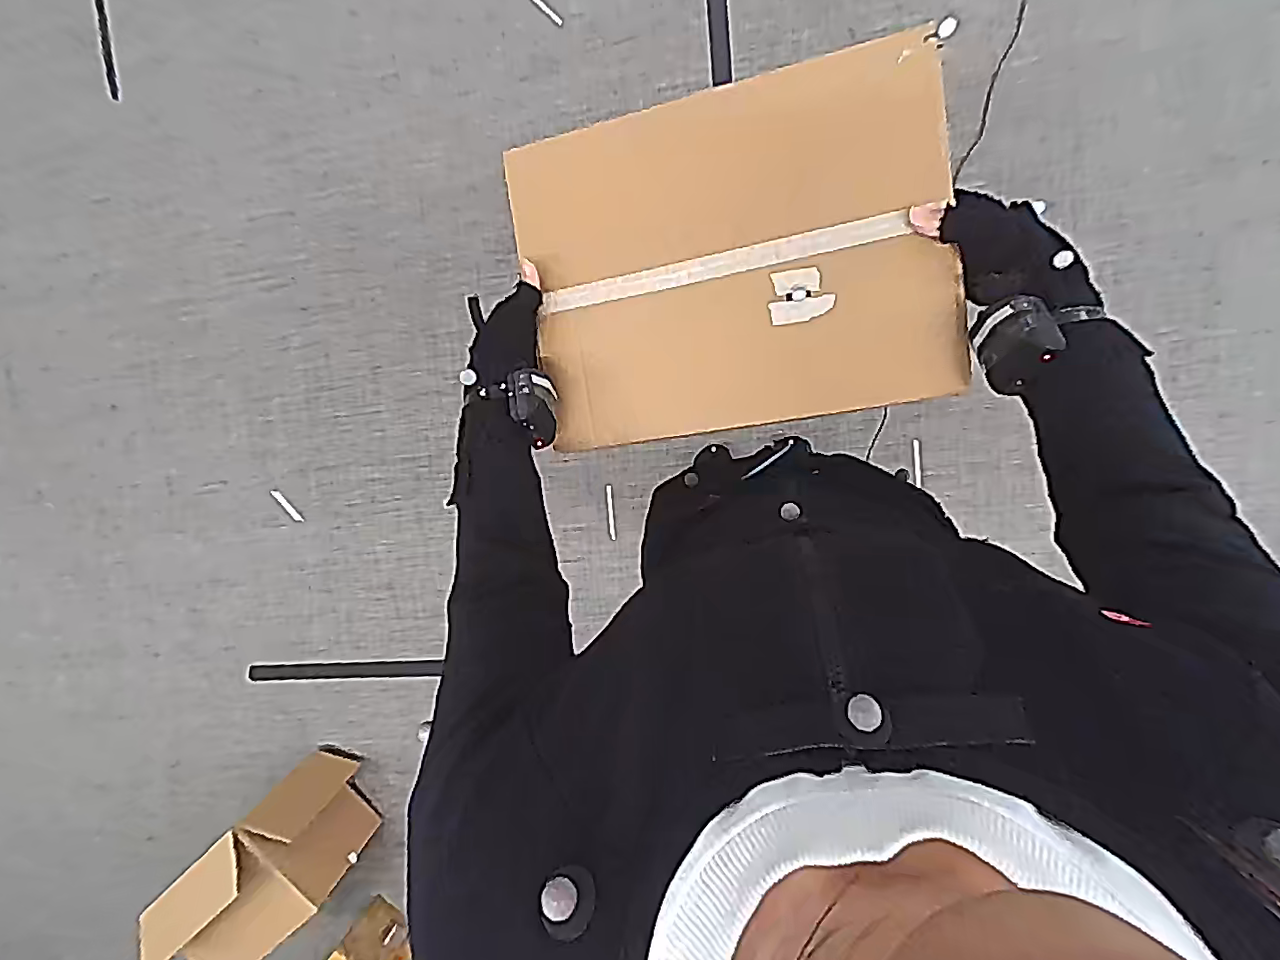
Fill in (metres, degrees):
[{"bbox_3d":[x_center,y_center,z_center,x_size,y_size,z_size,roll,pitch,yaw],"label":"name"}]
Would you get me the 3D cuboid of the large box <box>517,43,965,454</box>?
[{"bbox_3d":[0.115,-0.224,0.677,0.408,0.320,0.320,-8,96,13],"label":"large box"}]
